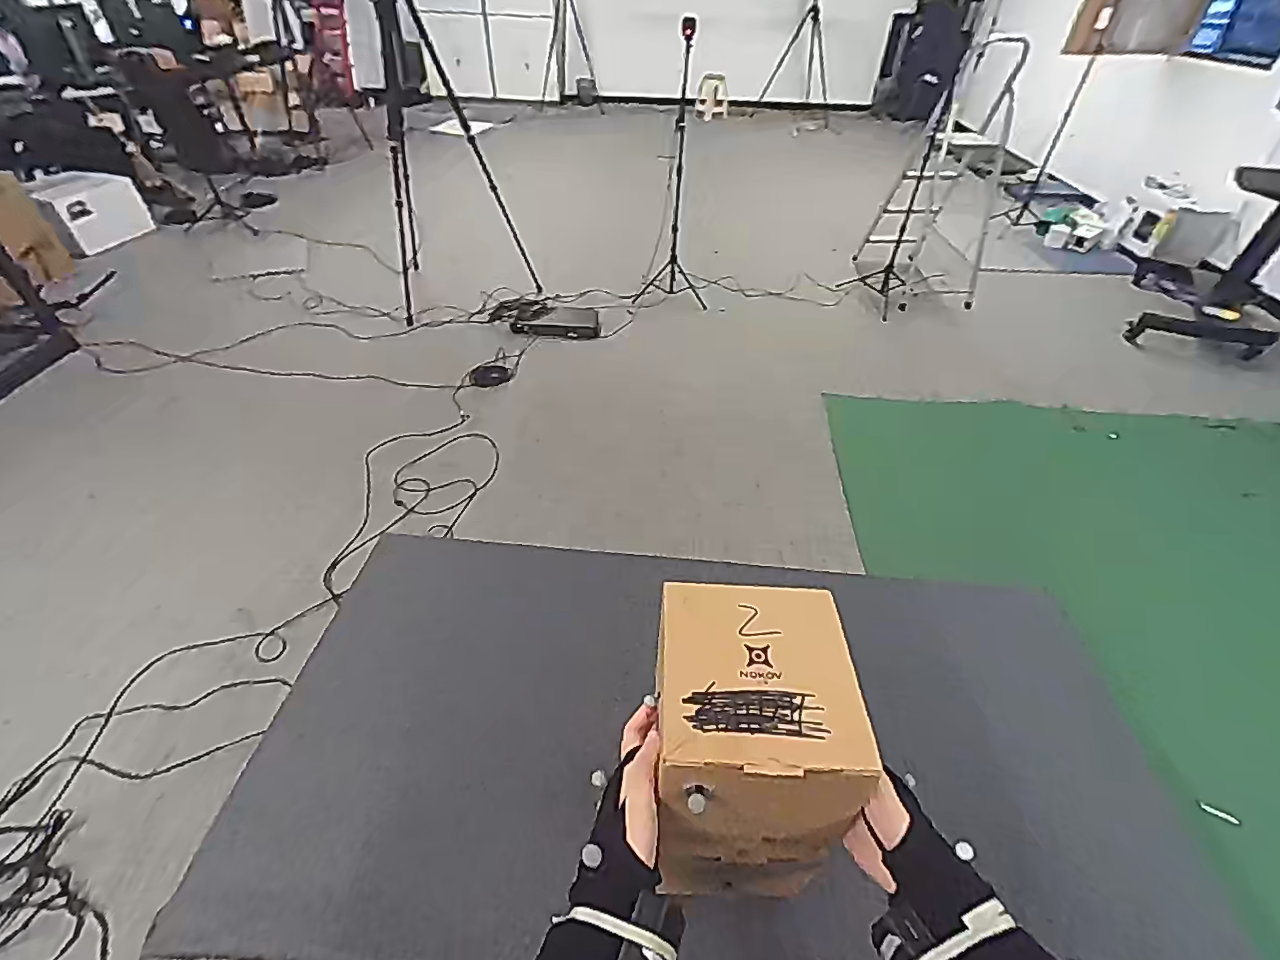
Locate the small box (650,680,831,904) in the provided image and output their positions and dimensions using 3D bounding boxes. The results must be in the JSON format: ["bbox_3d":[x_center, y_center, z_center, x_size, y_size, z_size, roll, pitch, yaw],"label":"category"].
[{"bbox_3d":[0.097,0.354,0.617,0.168,0.176,0.179,2,42,0],"label":"small box"}]
